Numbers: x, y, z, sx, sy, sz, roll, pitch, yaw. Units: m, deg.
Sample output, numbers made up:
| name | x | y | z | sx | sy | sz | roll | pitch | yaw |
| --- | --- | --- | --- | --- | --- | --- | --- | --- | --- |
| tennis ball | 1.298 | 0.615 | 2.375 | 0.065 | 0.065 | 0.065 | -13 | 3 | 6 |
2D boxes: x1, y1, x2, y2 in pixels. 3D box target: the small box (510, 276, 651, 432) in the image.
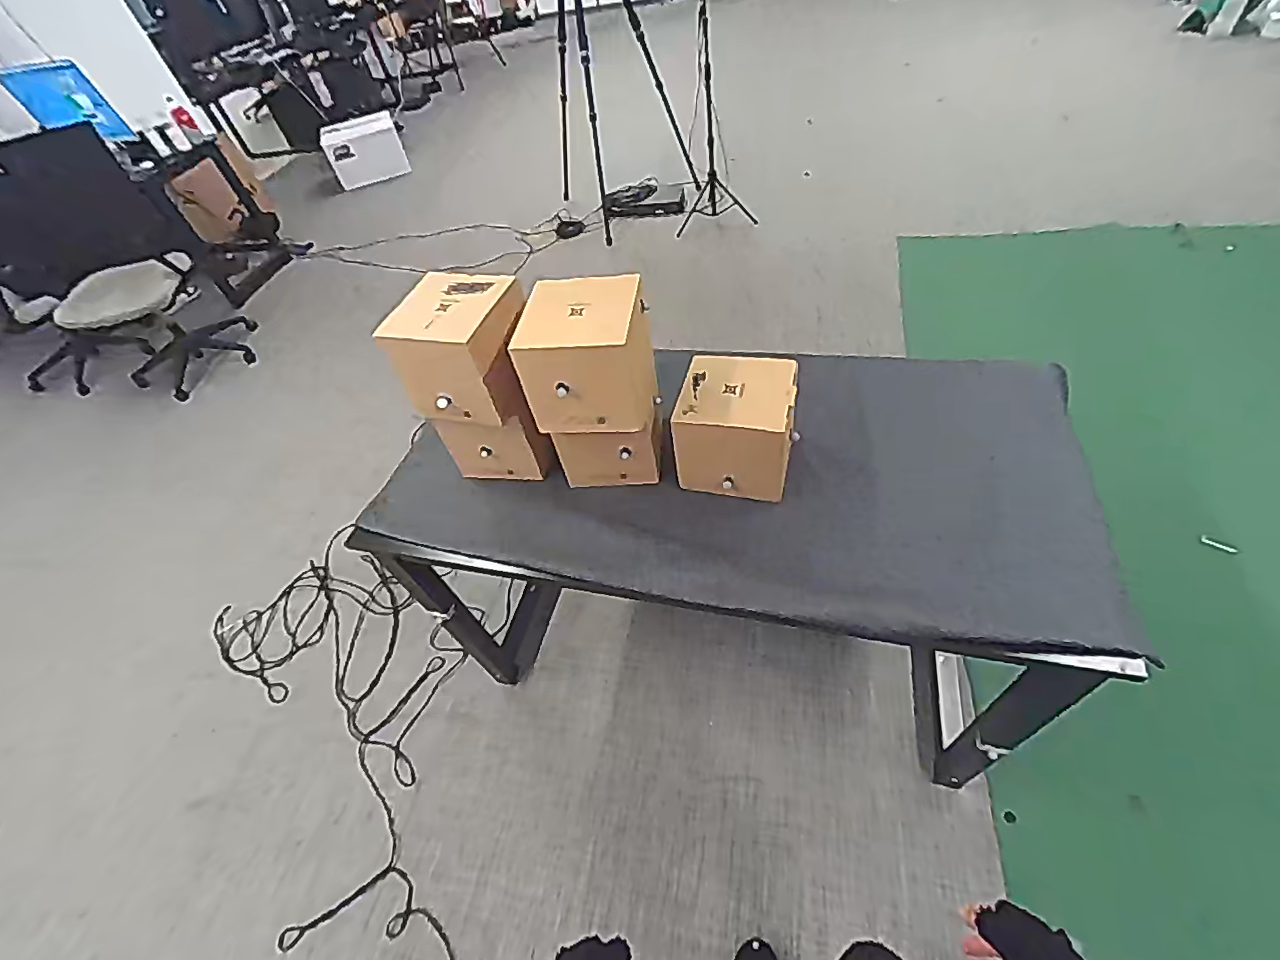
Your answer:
| name | x | y | z | sx | sy | sz | roll | pitch | yaw |
| --- | --- | --- | --- | --- | --- | --- | --- | --- | --- |
| small box | -0.078 | -0.187 | 0.830 | 0.168 | 0.176 | 0.179 | 0 | 50 | 9 |
